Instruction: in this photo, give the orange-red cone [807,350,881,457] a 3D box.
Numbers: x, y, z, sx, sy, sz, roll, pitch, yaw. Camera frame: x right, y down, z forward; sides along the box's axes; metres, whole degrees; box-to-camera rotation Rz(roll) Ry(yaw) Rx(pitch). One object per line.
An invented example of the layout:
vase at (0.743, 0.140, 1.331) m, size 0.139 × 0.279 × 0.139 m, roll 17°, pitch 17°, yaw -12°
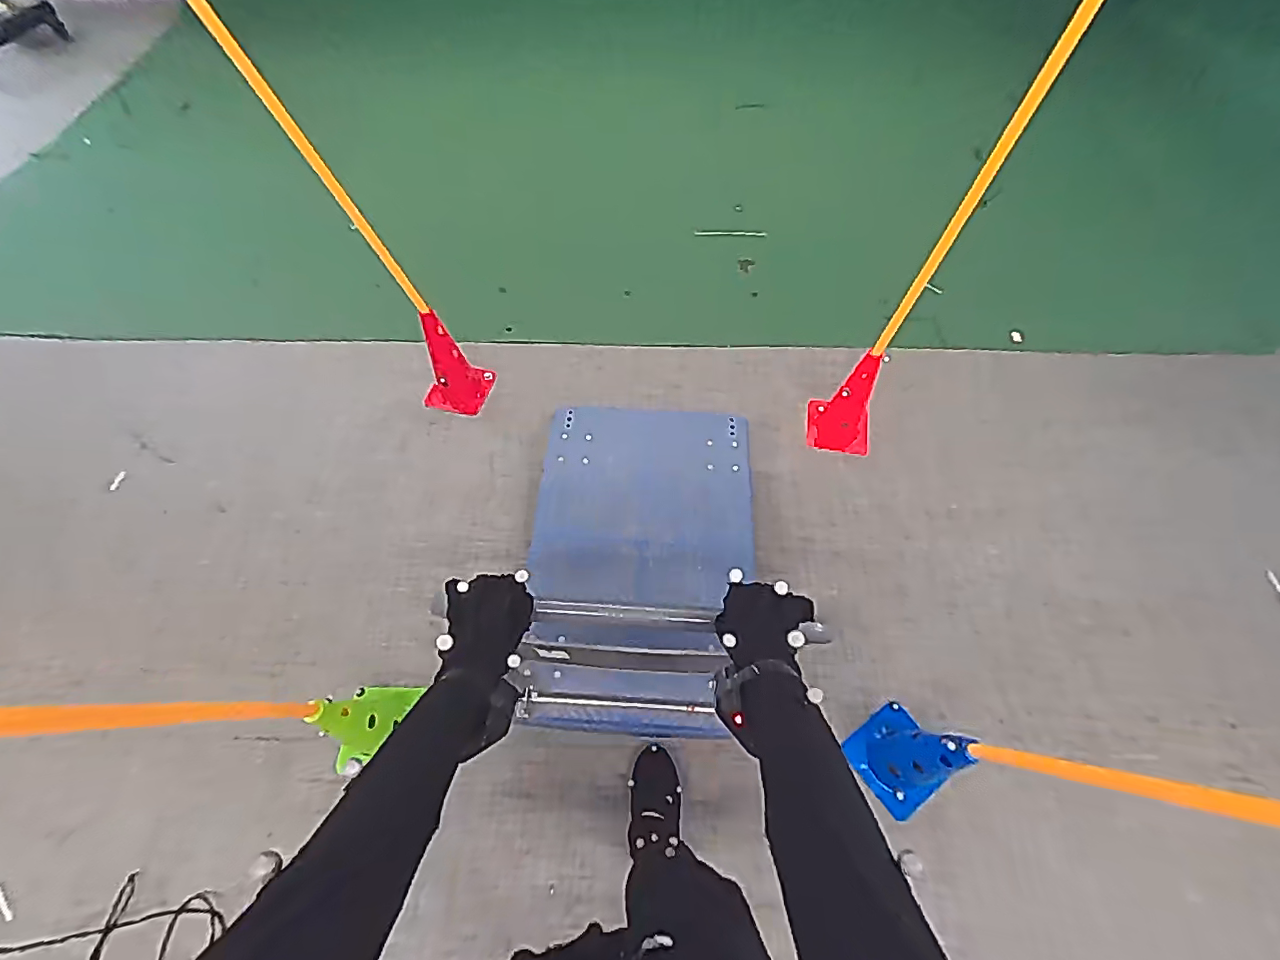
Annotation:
orange-red cone at (0.651, -0.253, 1.635) m, size 0.198 × 0.360 × 0.199 m, roll 10°, pitch 61°, yaw 8°
